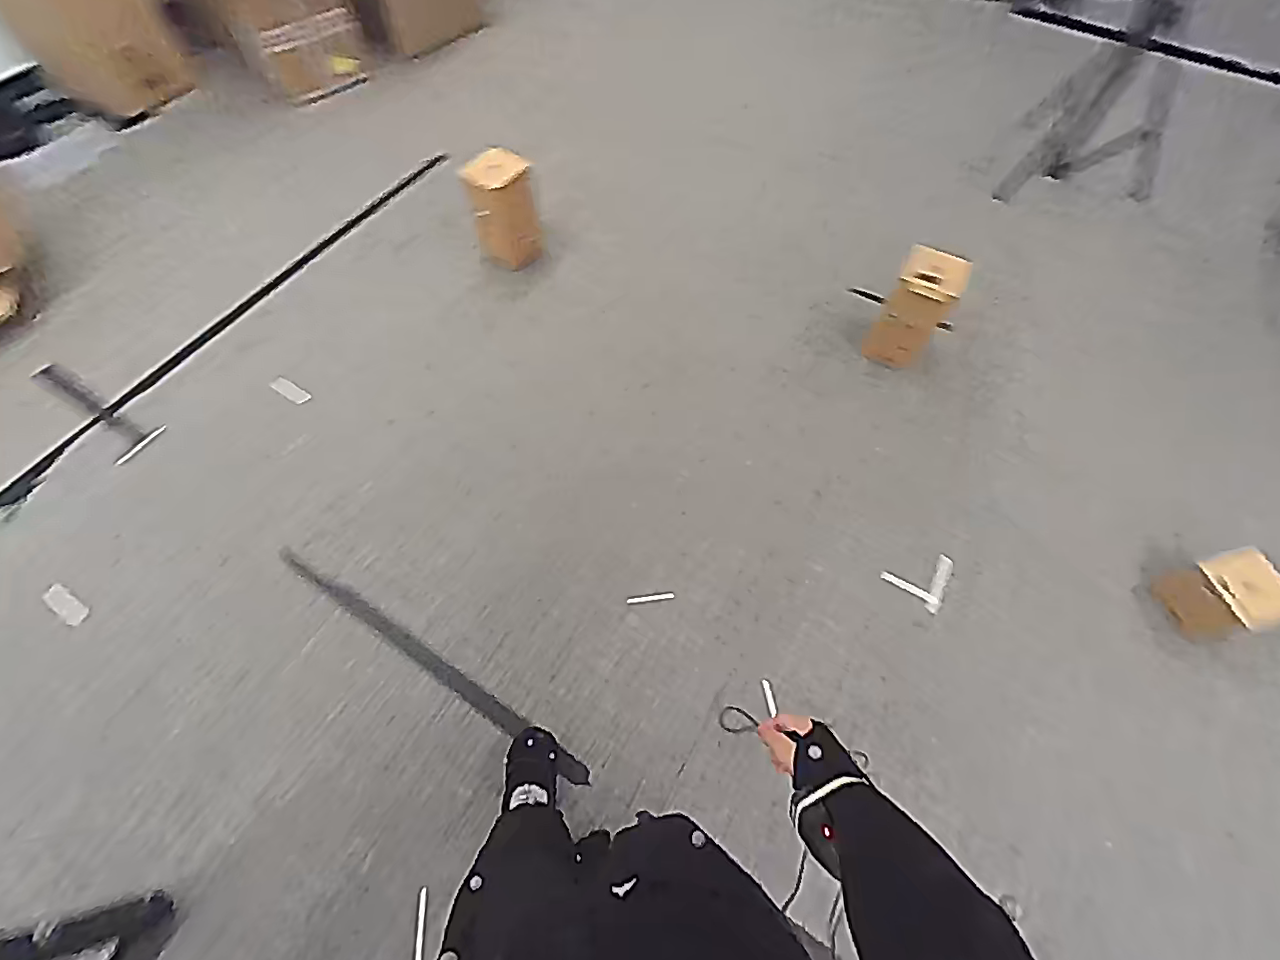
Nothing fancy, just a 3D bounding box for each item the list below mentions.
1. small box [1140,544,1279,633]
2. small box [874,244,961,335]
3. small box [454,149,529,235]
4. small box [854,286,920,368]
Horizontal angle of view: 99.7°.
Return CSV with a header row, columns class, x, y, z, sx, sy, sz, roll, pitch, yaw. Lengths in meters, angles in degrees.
class,x,y,z,sx,sy,sz,roll,pitch,yaw
small box,1.488,0.287,1.411,0.179,0.176,0.168,-13,64,-7
small box,0.848,-0.582,1.667,0.168,0.176,0.179,26,65,11
small box,-0.502,-0.986,1.857,0.168,0.176,0.179,32,68,16
small box,0.841,-0.510,1.815,0.168,0.176,0.179,25,64,11
